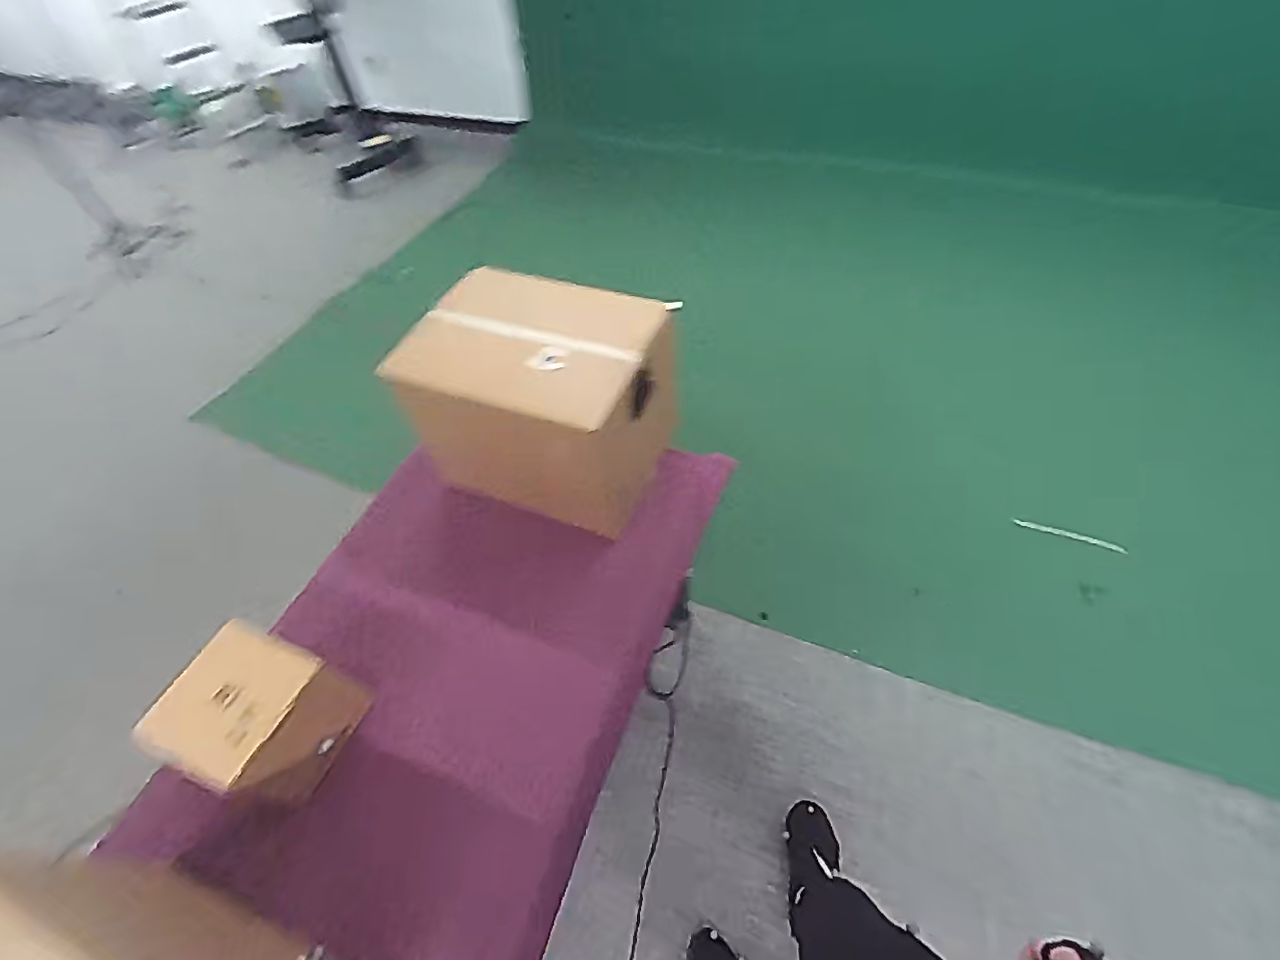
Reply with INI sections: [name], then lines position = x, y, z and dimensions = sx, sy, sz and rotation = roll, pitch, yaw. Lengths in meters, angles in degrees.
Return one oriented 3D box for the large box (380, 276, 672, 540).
[large box]
position = -0.178, -0.137, 1.021
dimensions = 0.408, 0.320, 0.320
rotation = 16, 57, 16
